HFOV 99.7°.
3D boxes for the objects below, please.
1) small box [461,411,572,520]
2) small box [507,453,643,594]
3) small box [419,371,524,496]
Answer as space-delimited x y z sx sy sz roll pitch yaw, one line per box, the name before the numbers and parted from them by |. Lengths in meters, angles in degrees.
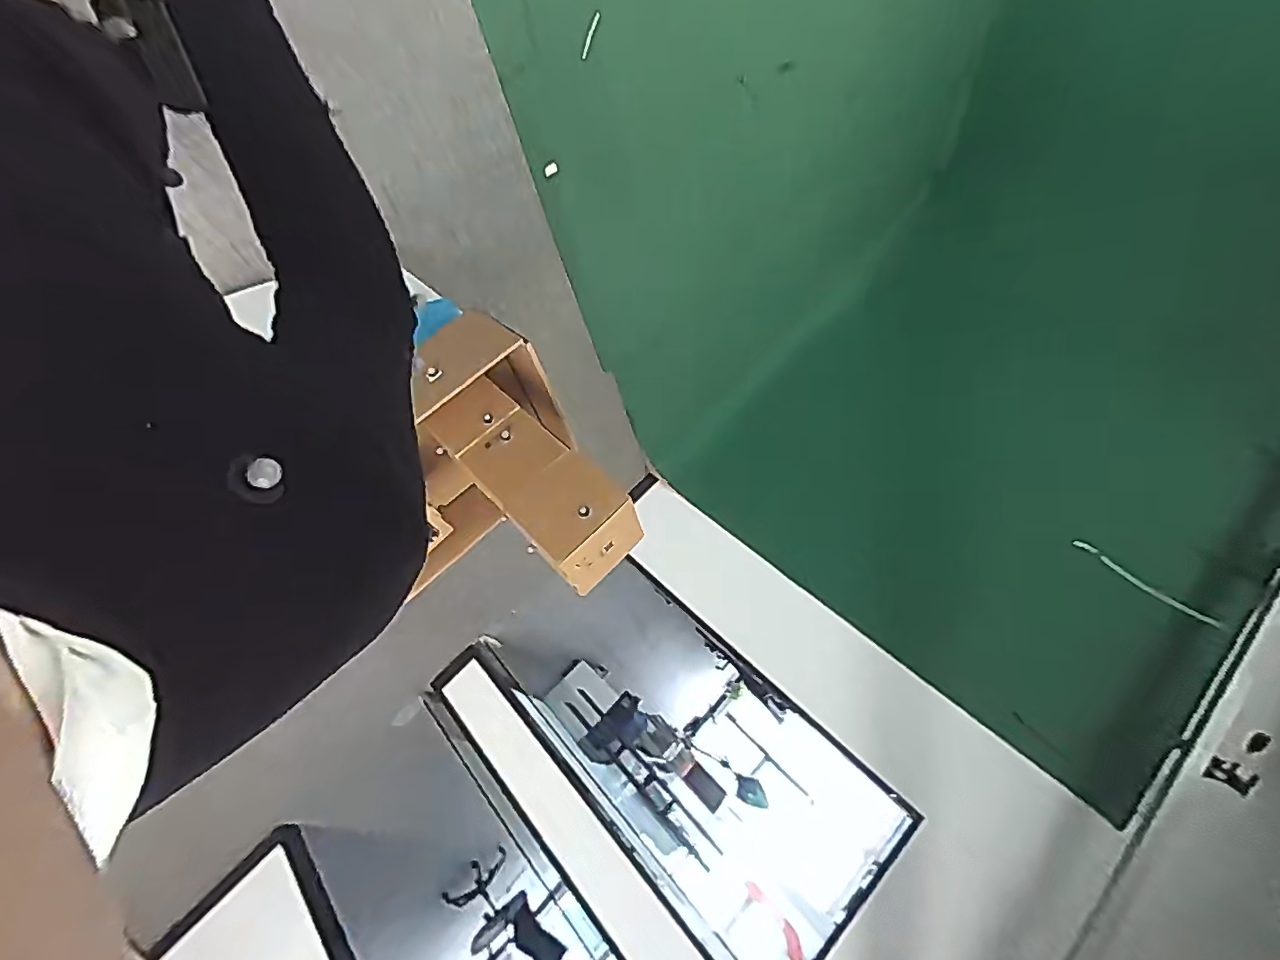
small box | -0.232 -0.010 1.117 0.168 0.176 0.179 -42 151 -15
small box | -0.121 0.080 1.036 0.179 0.176 0.168 -42 151 -15
small box | -0.345 -0.105 1.188 0.168 0.176 0.179 -42 152 -15
